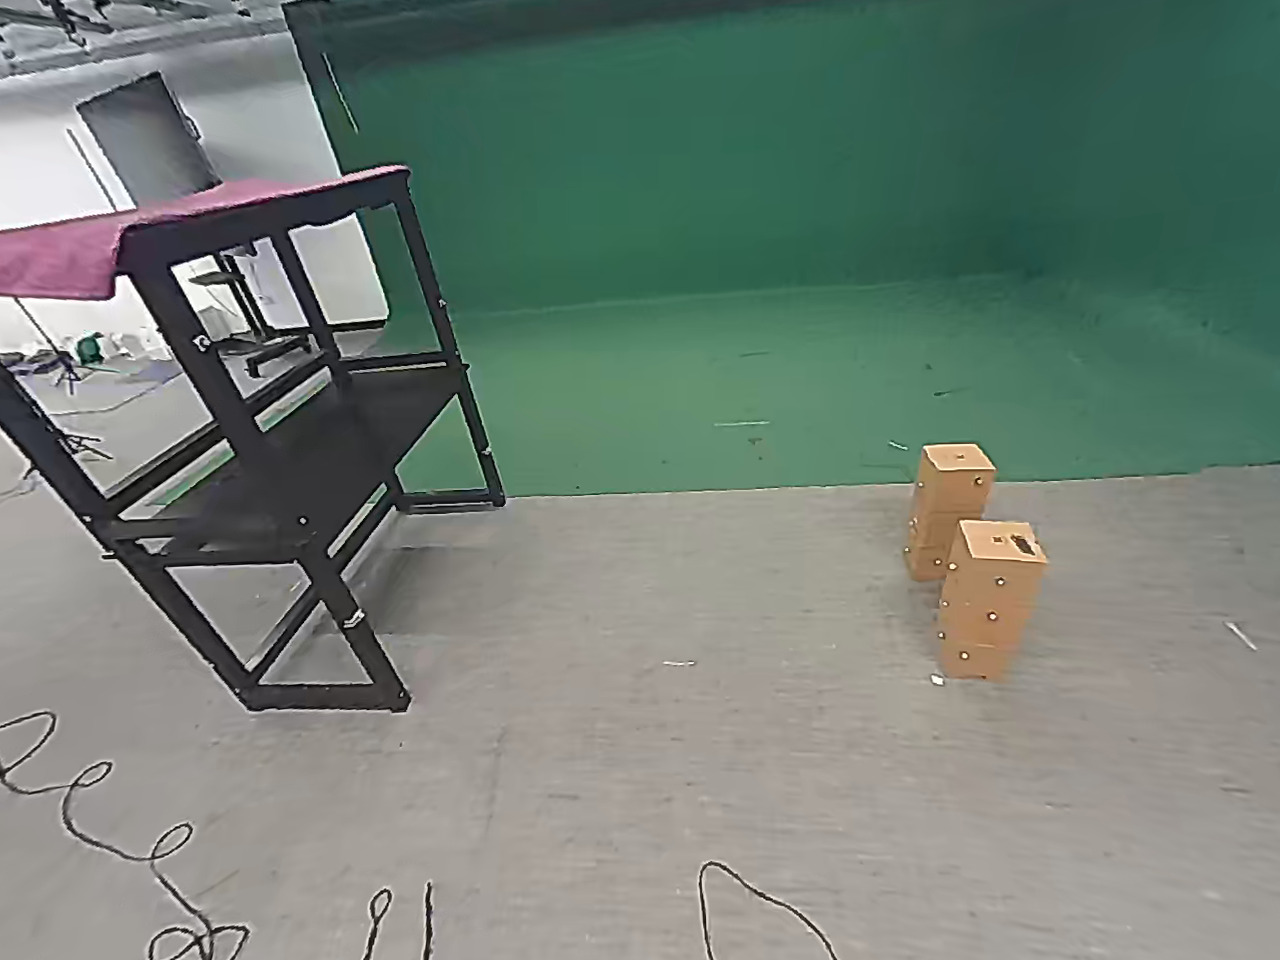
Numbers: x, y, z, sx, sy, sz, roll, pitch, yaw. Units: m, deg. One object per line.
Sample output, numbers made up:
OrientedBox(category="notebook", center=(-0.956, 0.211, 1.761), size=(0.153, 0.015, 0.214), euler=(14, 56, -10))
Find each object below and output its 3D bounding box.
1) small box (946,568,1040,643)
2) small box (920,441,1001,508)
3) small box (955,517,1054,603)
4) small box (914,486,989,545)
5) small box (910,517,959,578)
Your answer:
OrientedBox(category="small box", center=(1.025, 0.356, 1.584), size=(0.179, 0.176, 0.168), euler=(1, 35, 15))
OrientedBox(category="small box", center=(1.076, -0.017, 1.828), size=(0.179, 0.176, 0.168), euler=(-2, 33, 9))
OrientedBox(category="small box", center=(0.996, 0.221, 1.494), size=(0.179, 0.176, 0.168), euler=(2, 35, 17))
OrientedBox(category="small box", center=(1.099, 0.118, 1.920), size=(0.179, 0.176, 0.168), euler=(-3, 33, 10))
OrientedBox(category="small box", center=(1.120, 0.250, 2.013), size=(0.179, 0.176, 0.168), euler=(-1, 35, 12))
